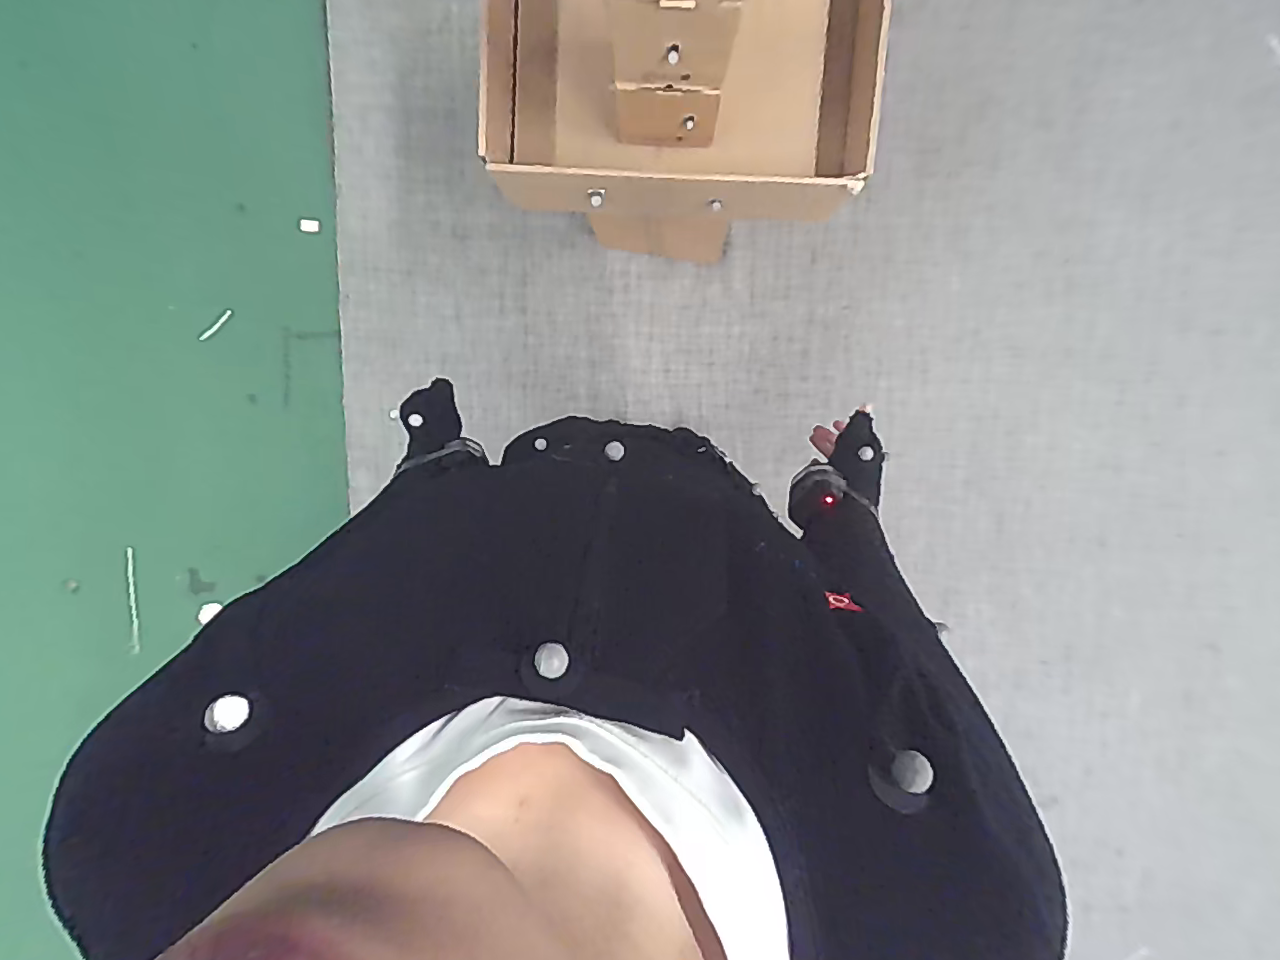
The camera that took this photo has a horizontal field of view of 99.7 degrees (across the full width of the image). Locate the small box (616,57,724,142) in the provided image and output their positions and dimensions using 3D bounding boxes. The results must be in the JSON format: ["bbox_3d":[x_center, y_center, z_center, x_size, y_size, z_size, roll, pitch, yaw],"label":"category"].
[{"bbox_3d":[0.050,-0.681,0.880,0.168,0.176,0.179,2,95,0],"label":"small box"}]

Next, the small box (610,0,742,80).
[{"bbox_3d":[0.050,-0.670,0.716,0.168,0.176,0.179,3,98,0],"label":"small box"}]
